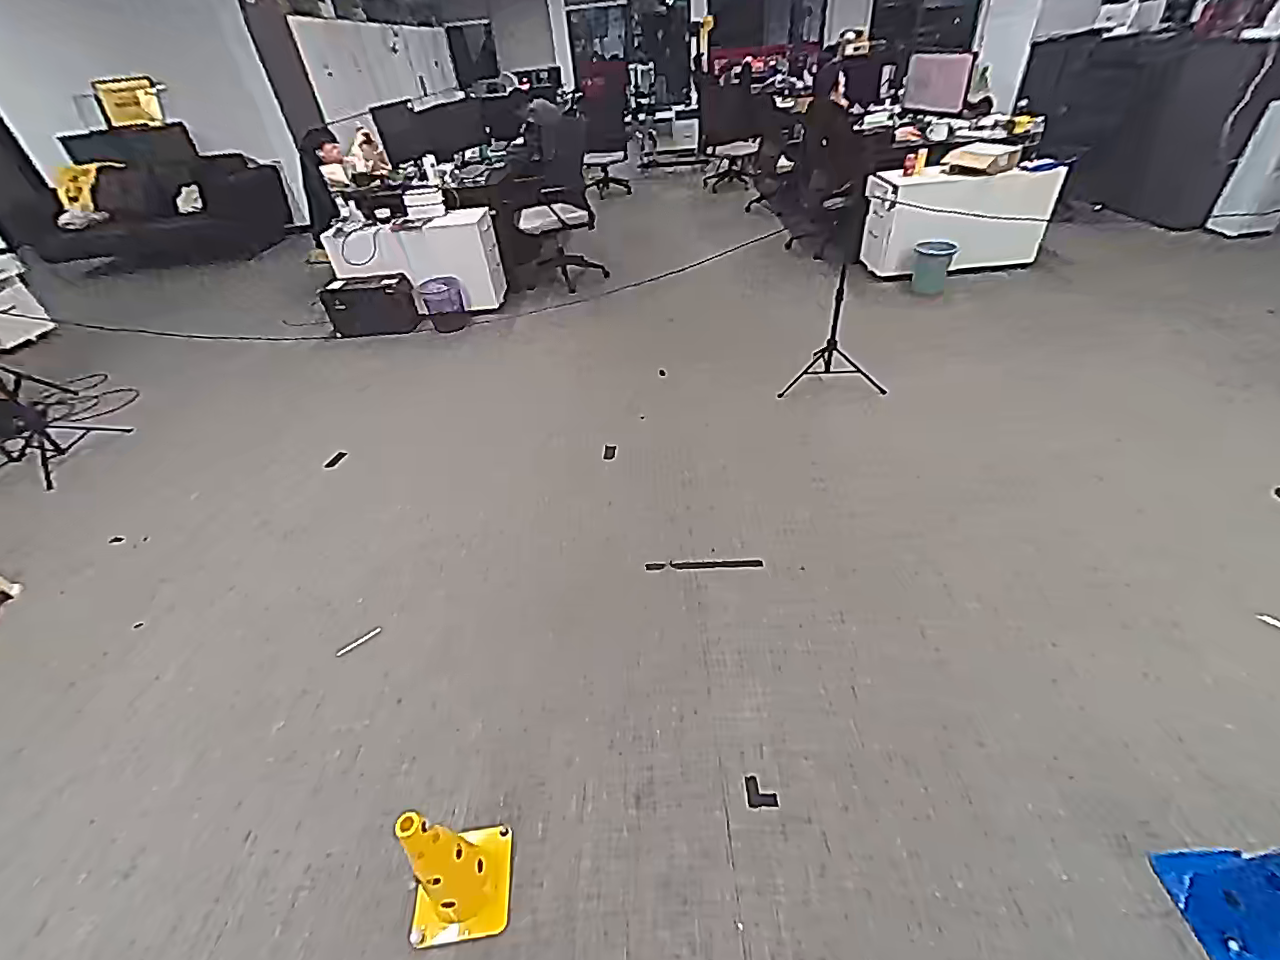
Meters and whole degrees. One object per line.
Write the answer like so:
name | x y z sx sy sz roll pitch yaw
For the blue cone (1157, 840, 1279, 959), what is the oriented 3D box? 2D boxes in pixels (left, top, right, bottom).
blue cone | 1.136 0.694 0.942 0.193 0.380 0.192 -4 37 3
